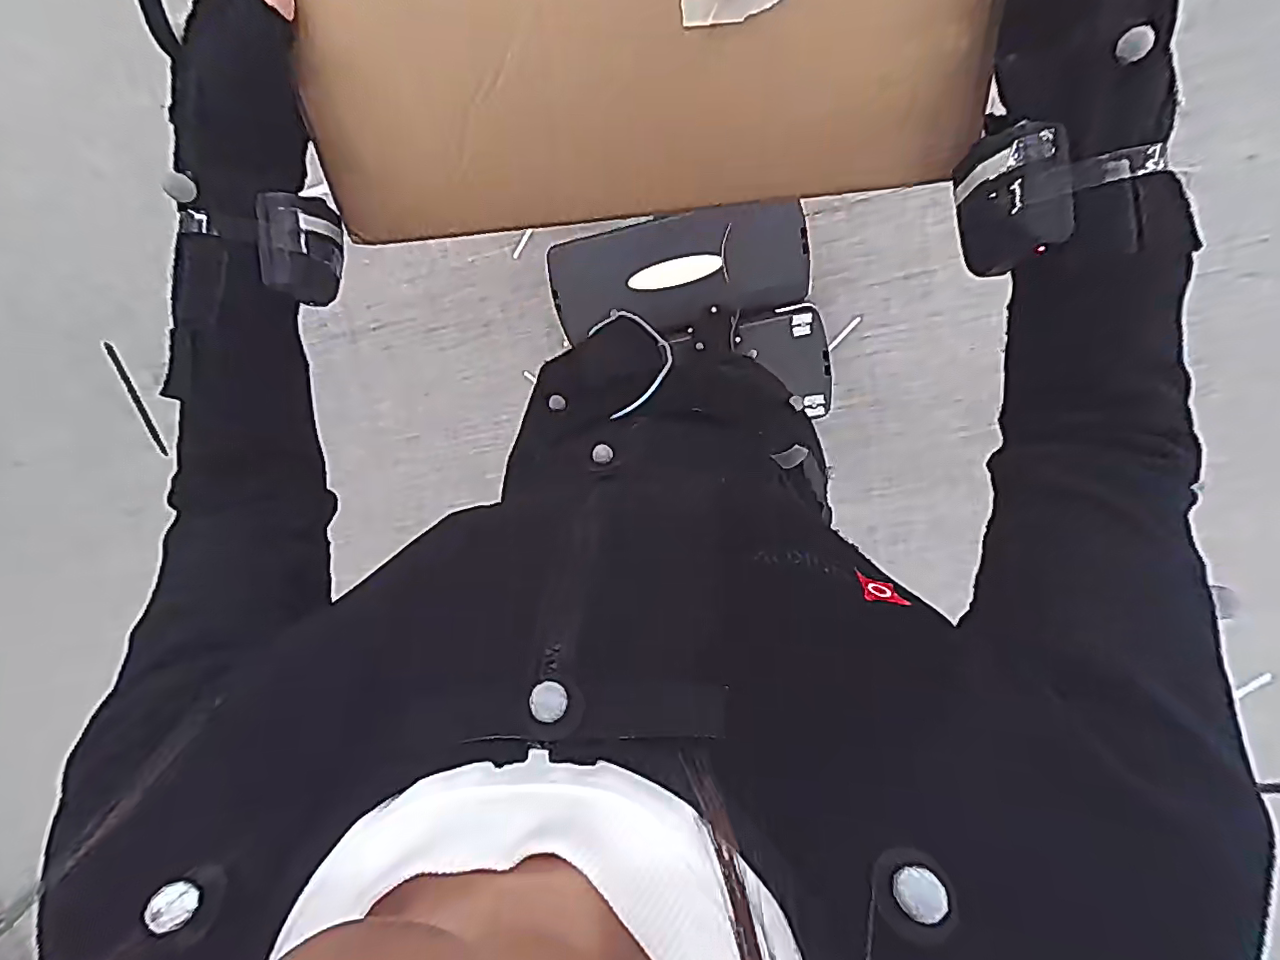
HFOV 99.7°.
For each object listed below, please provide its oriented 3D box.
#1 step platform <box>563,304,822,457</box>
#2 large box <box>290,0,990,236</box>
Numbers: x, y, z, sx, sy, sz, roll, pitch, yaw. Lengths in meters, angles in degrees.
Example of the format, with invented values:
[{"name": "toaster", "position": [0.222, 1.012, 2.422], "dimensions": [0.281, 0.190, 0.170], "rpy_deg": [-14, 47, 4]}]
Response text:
[{"name": "step platform", "position": [0.138, -0.263, 1.474], "dimensions": [0.684, 0.204, 0.286], "rpy_deg": [-10, 107, 13]}, {"name": "large box", "position": [-0.001, -0.394, 0.406], "dimensions": [0.408, 0.320, 0.320], "rpy_deg": [-2, 122, 9]}]
